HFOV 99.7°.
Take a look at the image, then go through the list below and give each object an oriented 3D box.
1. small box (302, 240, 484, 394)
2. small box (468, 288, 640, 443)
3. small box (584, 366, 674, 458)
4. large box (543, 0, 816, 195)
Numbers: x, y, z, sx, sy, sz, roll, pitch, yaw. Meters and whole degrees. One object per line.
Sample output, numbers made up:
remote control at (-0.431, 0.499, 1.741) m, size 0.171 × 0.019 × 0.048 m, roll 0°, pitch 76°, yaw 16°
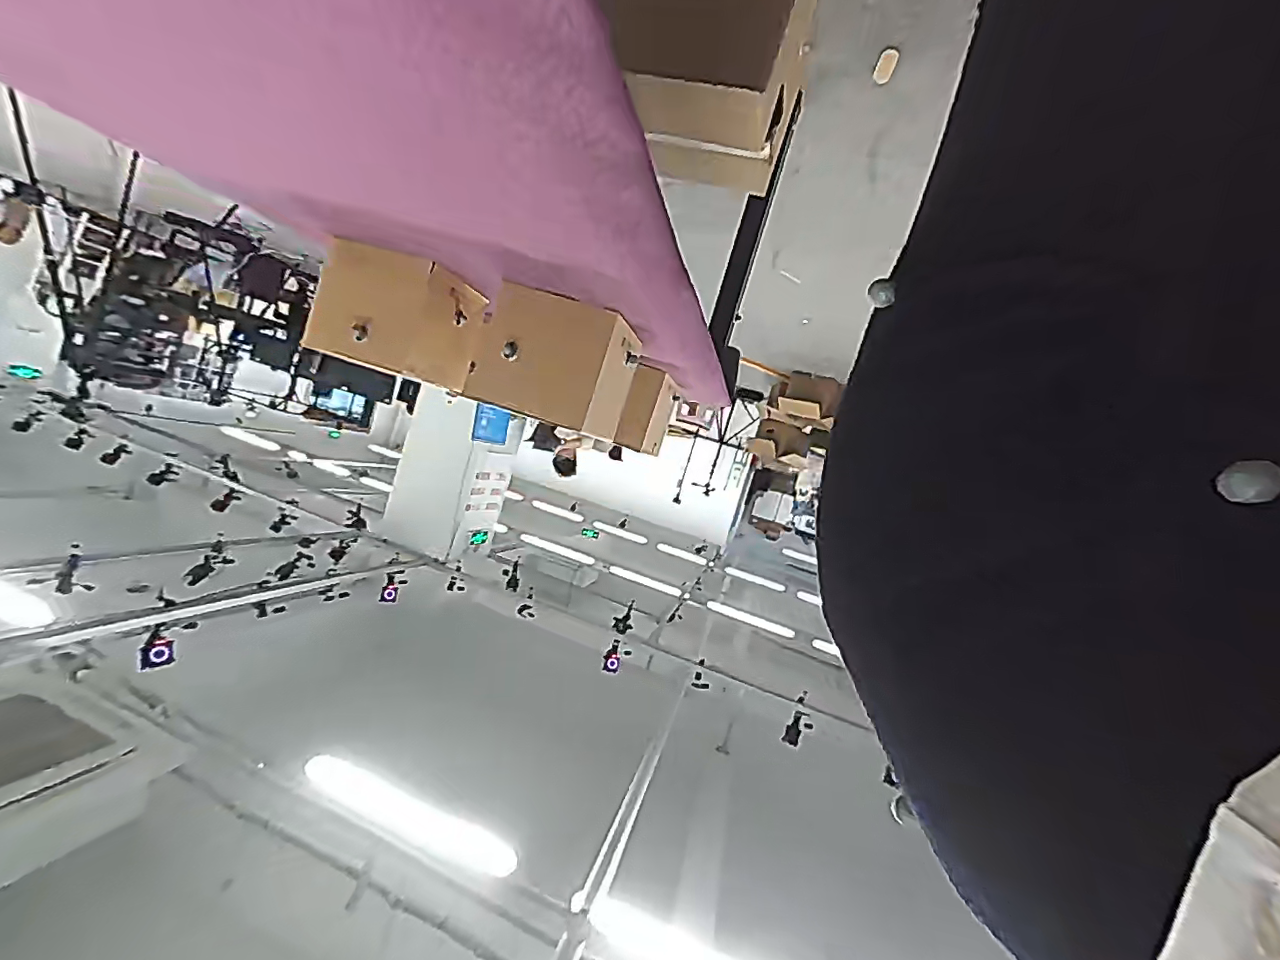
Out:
small box at (-0.376, -0.252, 0.848) m, size 0.179 × 0.176 × 0.168 m, roll 17°, pitch -178°, yaw 11°
small box at (-0.118, -0.166, 0.802) m, size 0.179 × 0.176 × 0.168 m, roll 19°, pitch -176°, yaw 11°
small box at (-0.037, -0.156, 1.156) m, size 0.179 × 0.176 × 0.168 m, roll 20°, pitch -177°, yaw 14°
large box at (0.093, -0.805, 1.027) m, size 0.408 × 0.320 × 0.320 m, roll 19°, pitch -178°, yaw 13°
